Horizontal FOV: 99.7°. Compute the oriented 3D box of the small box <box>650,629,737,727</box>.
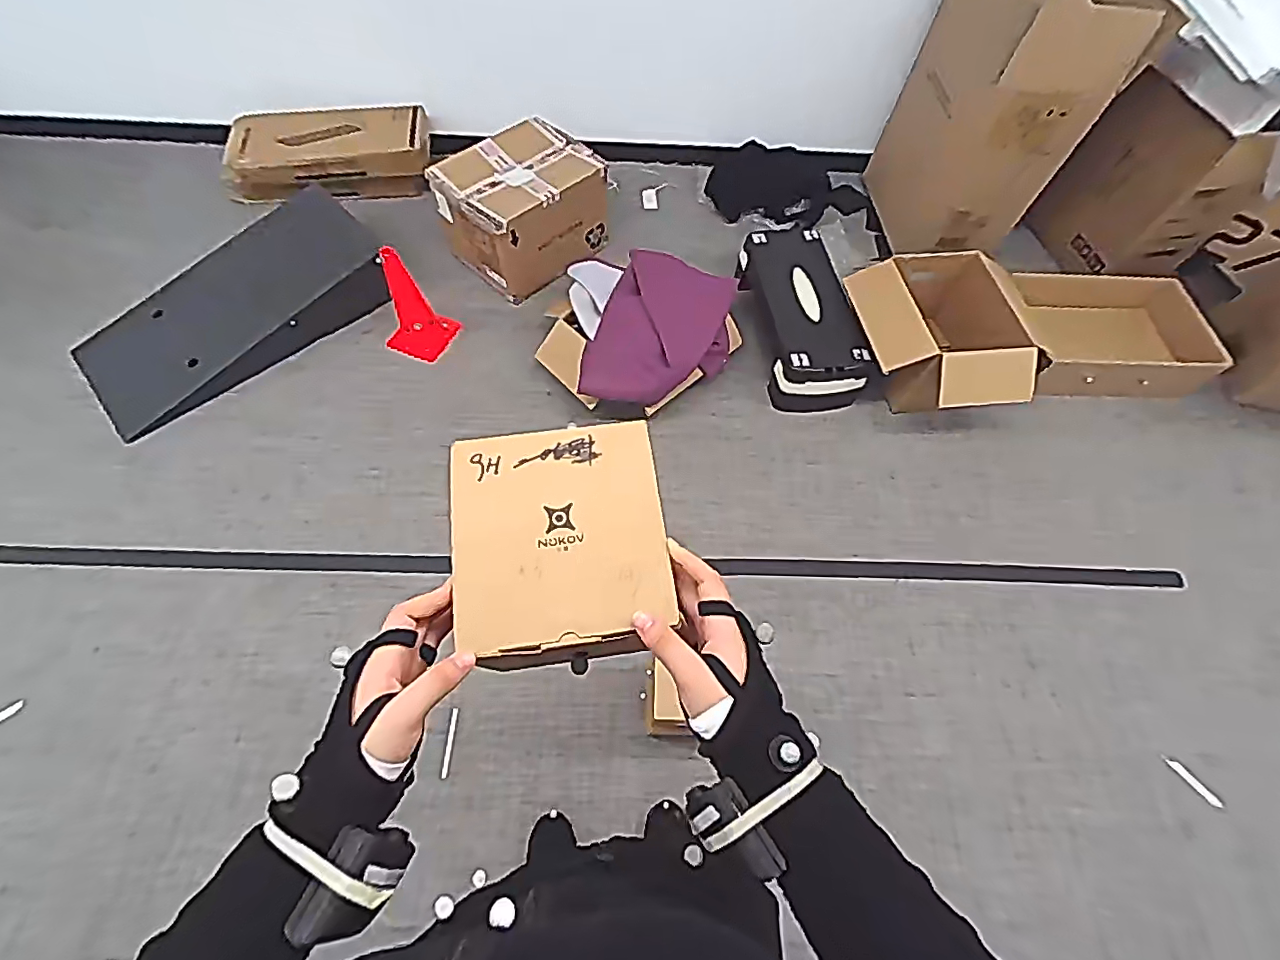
[{"bbox_3d":[0.108,0.427,1.160,0.168,0.176,0.179,2,63,-1],"label":"small box"}]

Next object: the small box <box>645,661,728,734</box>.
[{"bbox_3d":[0.106,0.514,1.298,0.179,0.176,0.168,1,62,-2],"label":"small box"}]

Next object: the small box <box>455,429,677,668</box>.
[{"bbox_3d":[-0.064,0.073,0.502,0.168,0.176,0.179,-7,70,-5],"label":"small box"}]
